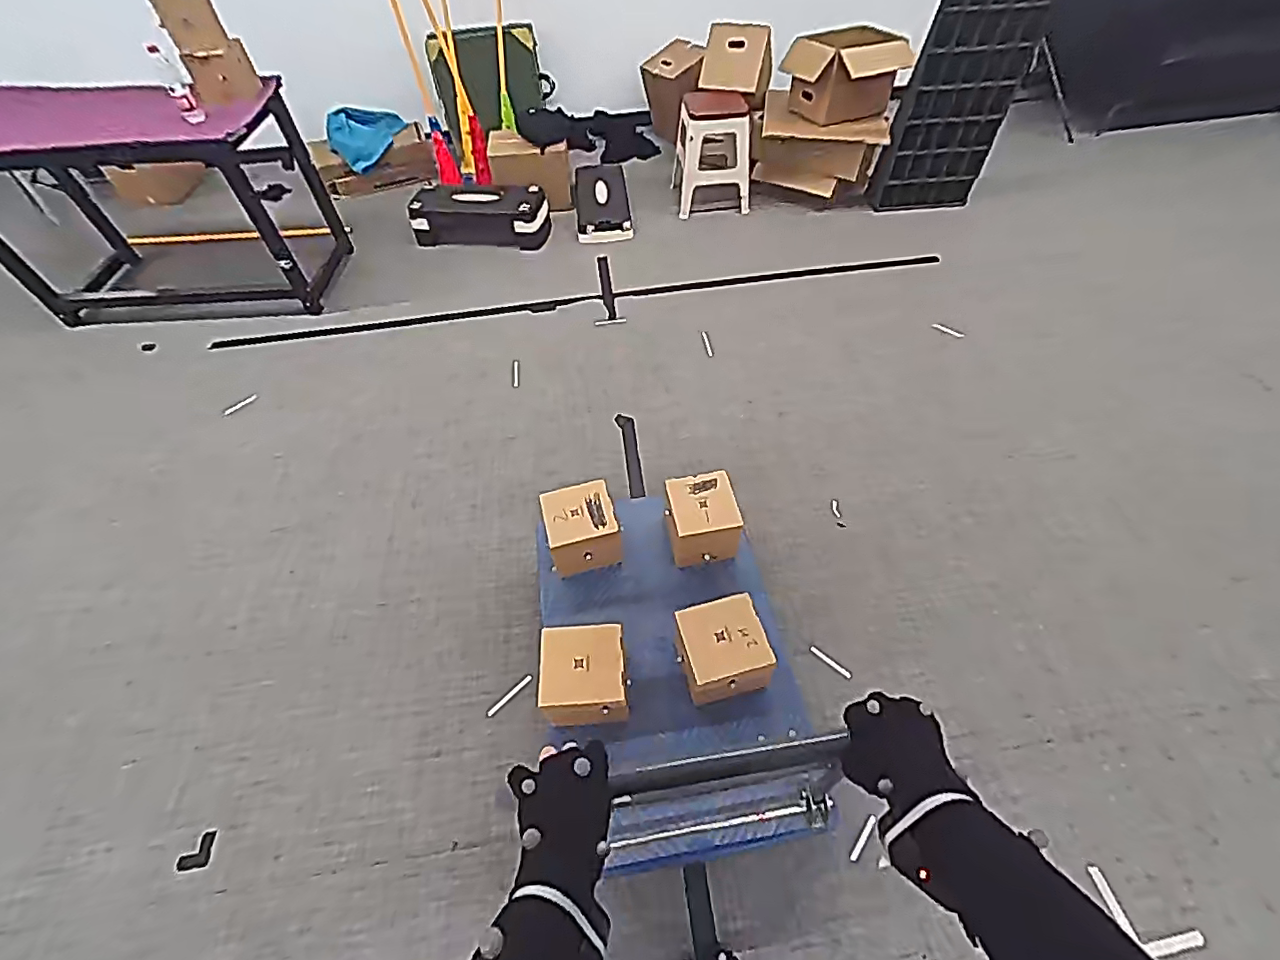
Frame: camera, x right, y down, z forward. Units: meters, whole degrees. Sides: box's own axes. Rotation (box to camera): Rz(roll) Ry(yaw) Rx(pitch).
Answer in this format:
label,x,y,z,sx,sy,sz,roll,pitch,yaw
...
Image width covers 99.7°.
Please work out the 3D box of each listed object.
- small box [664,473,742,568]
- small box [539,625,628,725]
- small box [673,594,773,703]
label,x,y,z,sx,sy,sz,roll,pitch,yaw
small box,0.159,0.109,1.434,0.168,0.176,0.179,-10,54,-5
small box,-0.121,0.438,1.203,0.179,0.176,0.168,-4,53,-2
small box,0.182,0.387,1.224,0.179,0.176,0.168,-13,54,-7
